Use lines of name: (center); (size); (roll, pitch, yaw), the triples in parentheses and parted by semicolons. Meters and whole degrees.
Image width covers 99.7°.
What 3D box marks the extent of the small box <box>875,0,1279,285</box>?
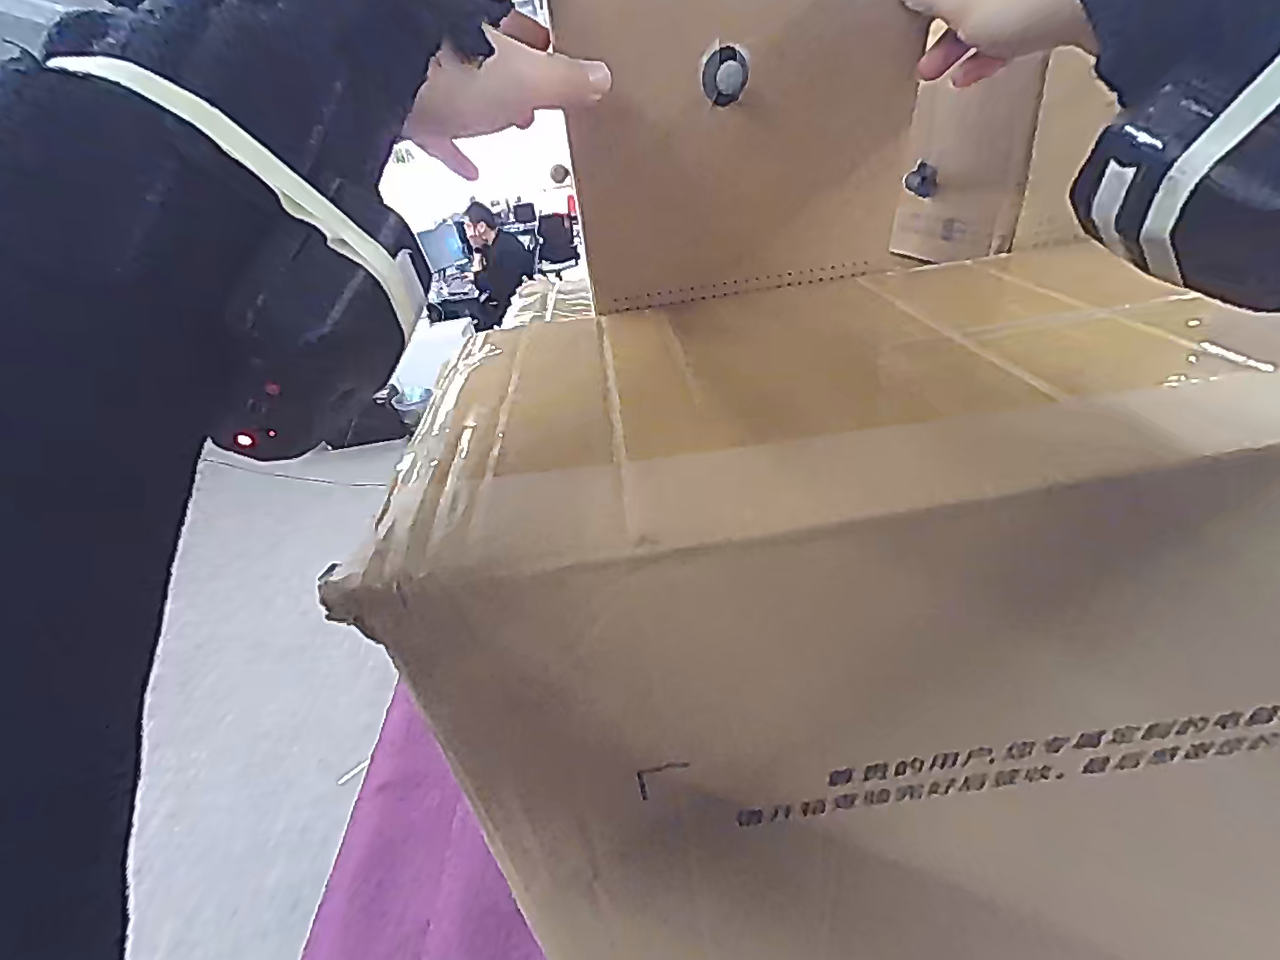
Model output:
small box: (0.282, -0.246, 0.365); (0.179, 0.176, 0.168); (-13, 31, -3)

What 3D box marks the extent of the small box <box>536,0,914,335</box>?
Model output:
small box: (0.041, -0.203, 0.339); (0.179, 0.176, 0.168); (-7, 39, -2)
